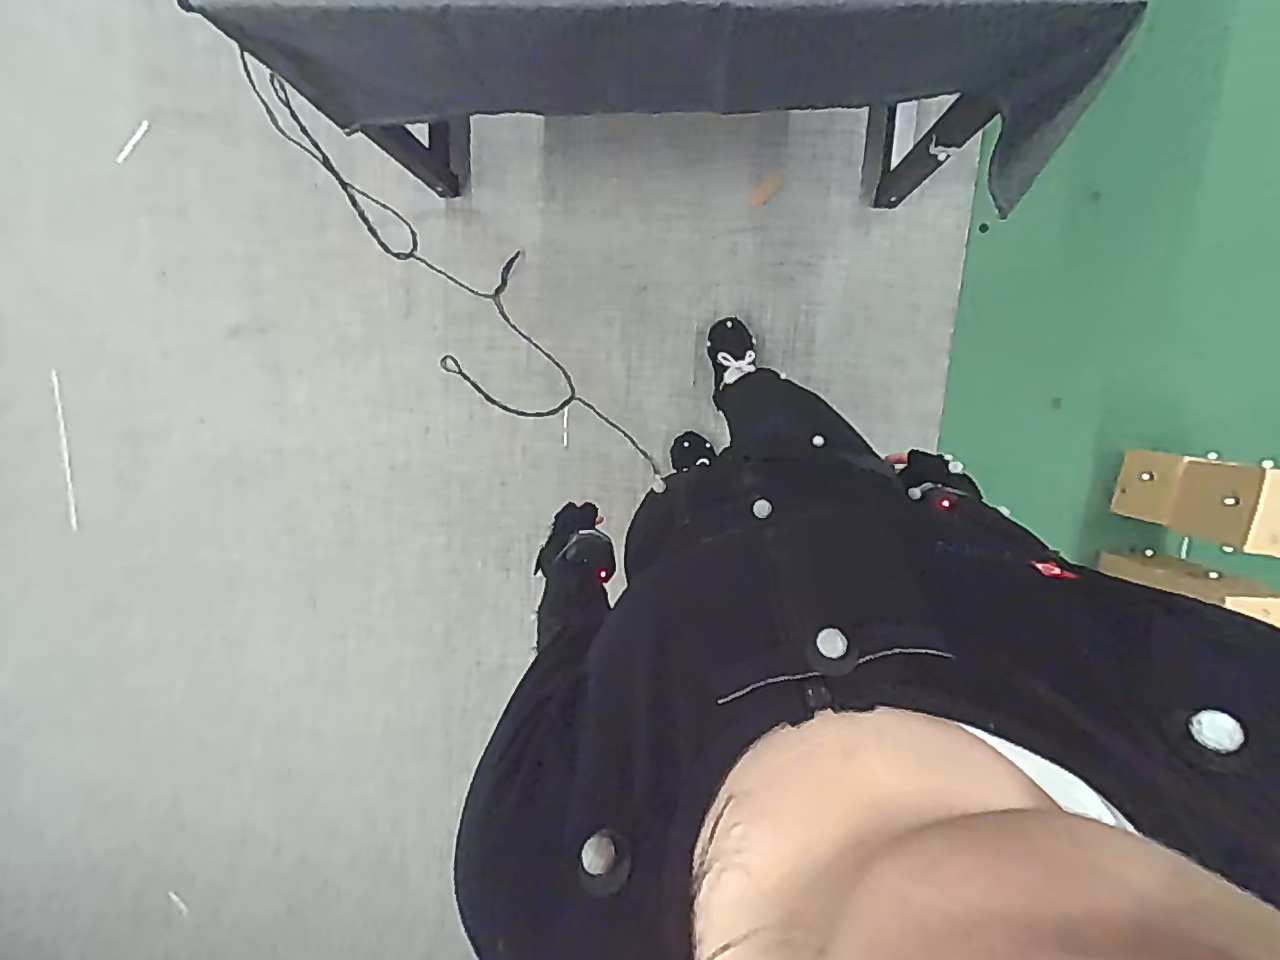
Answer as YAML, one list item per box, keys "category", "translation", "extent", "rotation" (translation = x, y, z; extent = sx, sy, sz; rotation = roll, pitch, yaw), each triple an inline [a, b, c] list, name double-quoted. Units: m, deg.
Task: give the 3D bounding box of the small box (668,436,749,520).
- category: "small box"
  translation: [0.178, -0.011, 1.413]
  extent: [0.179, 0.176, 0.168]
  rotation: [11, 110, 19]

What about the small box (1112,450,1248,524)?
- category: "small box"
  translation: [1.307, 0.024, 1.307]
  extent: [0.179, 0.176, 0.168]
  rotation: [9, 99, 3]

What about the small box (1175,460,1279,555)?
- category: "small box"
  translation: [1.304, 0.057, 1.145]
  extent: [0.168, 0.176, 0.179]
  rotation: [8, 98, 3]
